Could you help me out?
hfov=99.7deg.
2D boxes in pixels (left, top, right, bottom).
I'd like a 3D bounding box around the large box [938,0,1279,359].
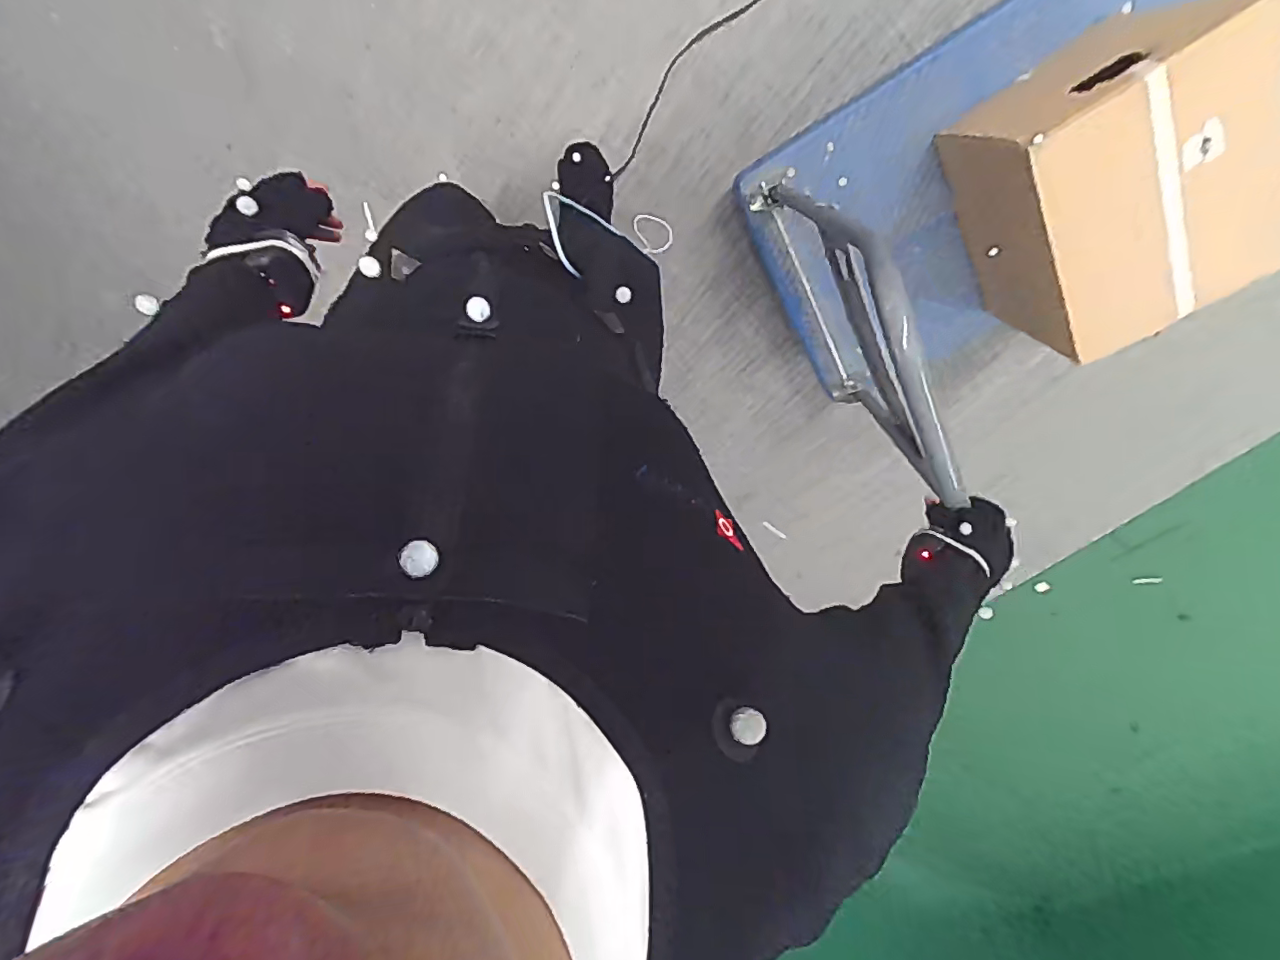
[{"bbox_3d":[0.785,-0.495,0.925,0.320,0.320,0.408,-30,119,19],"label":"large box"}]
